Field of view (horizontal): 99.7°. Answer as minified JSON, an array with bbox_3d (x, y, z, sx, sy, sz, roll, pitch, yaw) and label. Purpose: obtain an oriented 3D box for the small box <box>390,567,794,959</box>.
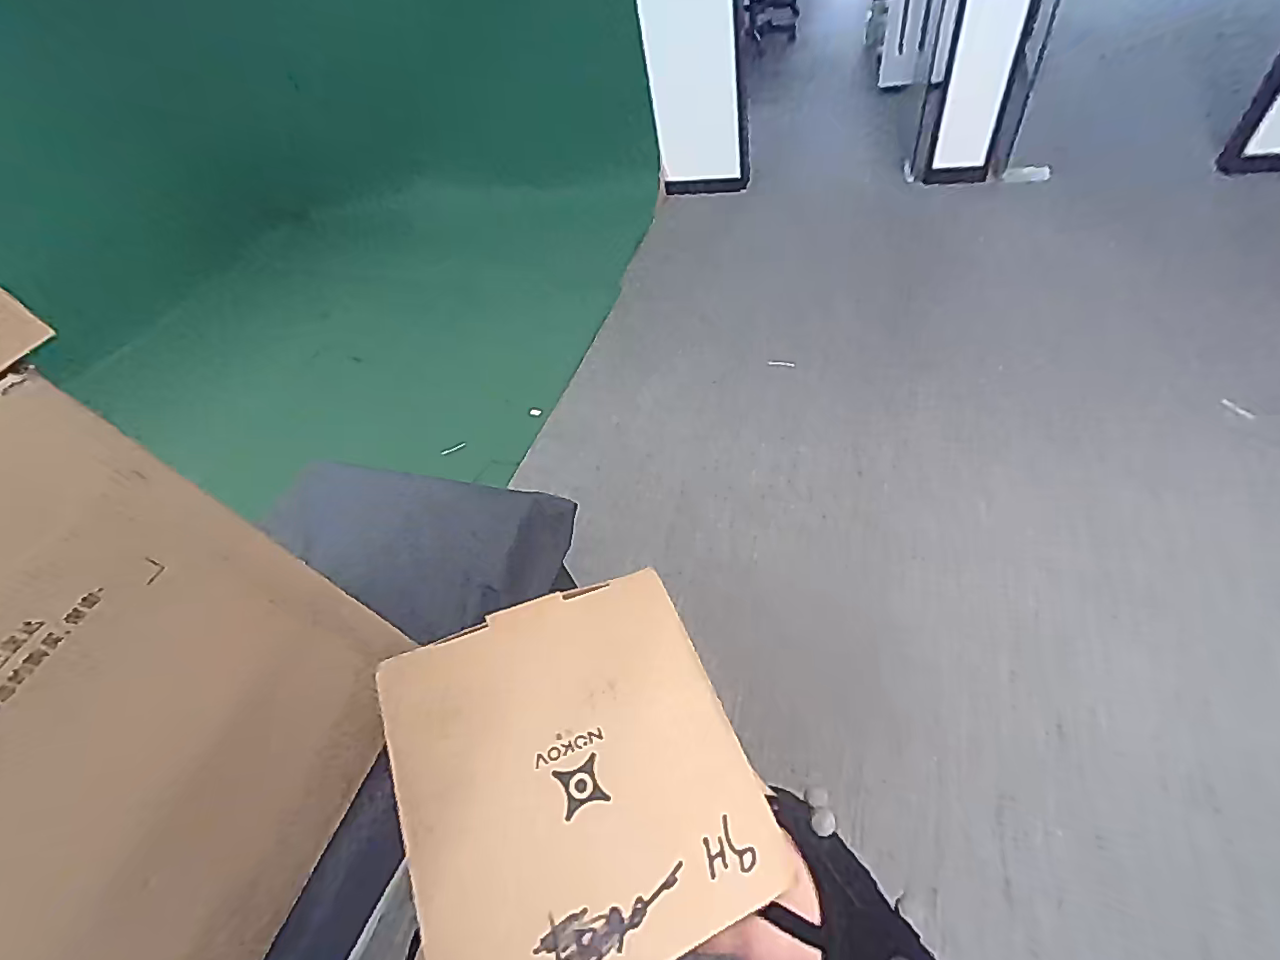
[{"bbox_3d":[-0.041,0.187,0.343,0.168,0.176,0.179,-16,60,-18],"label":"small box"}]
